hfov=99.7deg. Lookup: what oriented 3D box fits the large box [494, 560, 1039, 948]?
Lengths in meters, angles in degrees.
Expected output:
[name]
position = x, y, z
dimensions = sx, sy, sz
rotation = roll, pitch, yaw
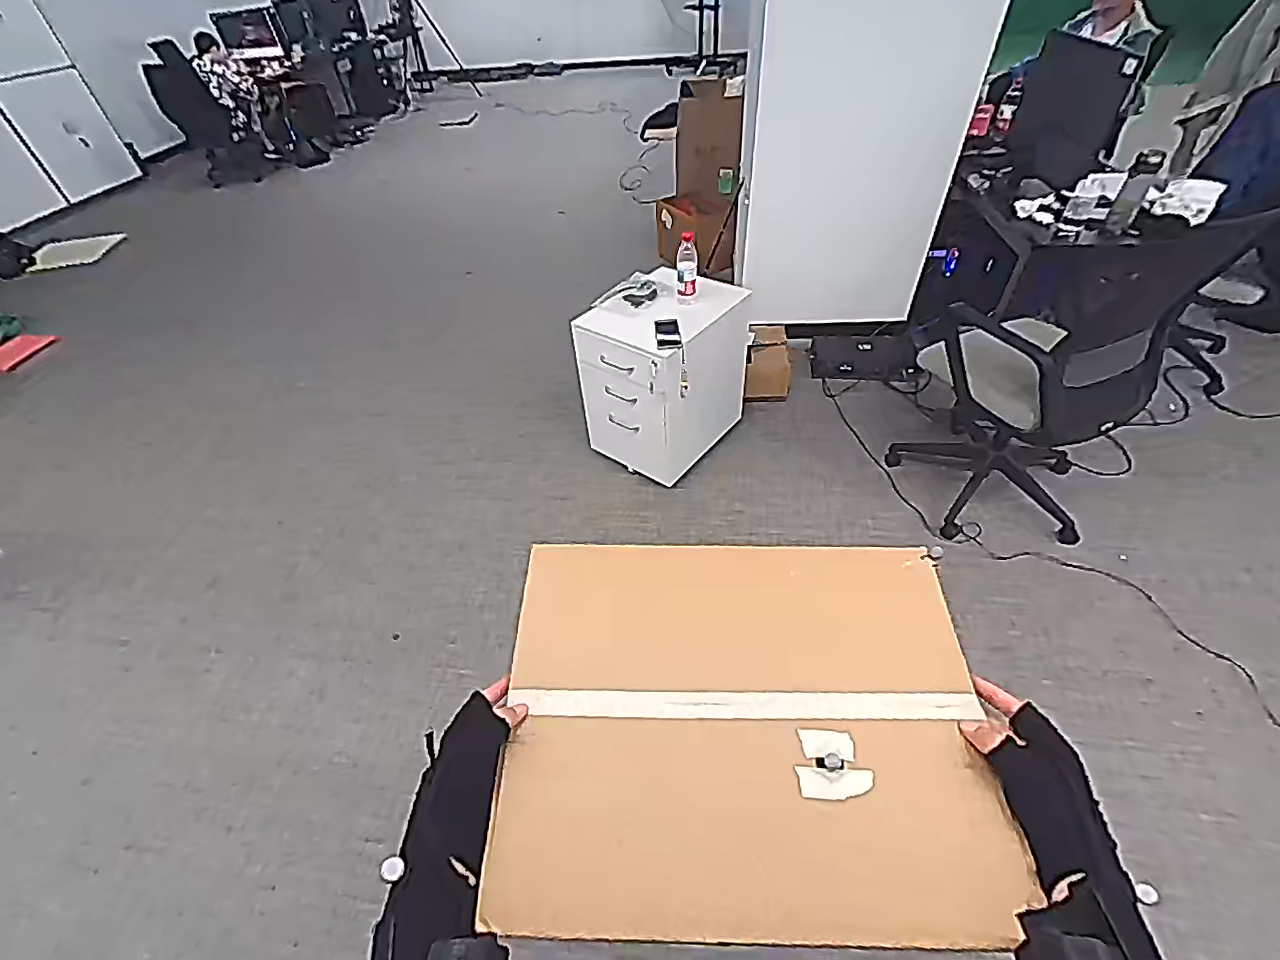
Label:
[large box]
position = 0.091, 0.296, 0.595
dimensions = 0.408, 0.320, 0.320
rotation = 0, 54, 1
